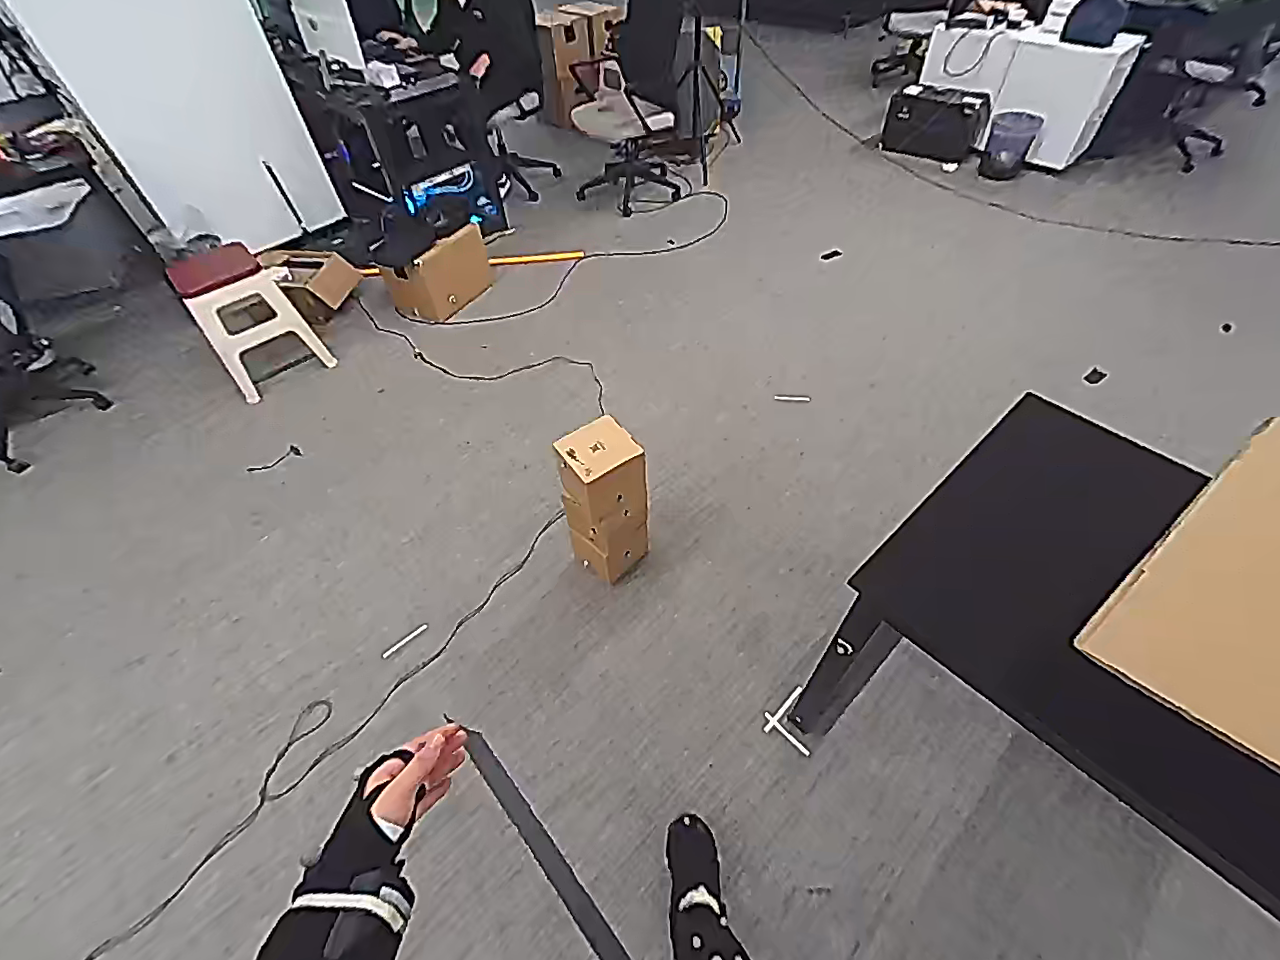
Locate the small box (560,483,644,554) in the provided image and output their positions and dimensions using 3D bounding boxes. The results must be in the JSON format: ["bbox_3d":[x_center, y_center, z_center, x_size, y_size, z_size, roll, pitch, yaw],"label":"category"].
[{"bbox_3d":[-0.099,0.078,1.539,0.168,0.176,0.179,33,58,25],"label":"small box"}]

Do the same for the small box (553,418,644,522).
[{"bbox_3d":[-0.105,-0.025,1.411,0.179,0.176,0.168,-30,56,-21],"label":"small box"}]

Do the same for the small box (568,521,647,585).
[{"bbox_3d":[-0.096,0.185,1.661,0.168,0.176,0.179,35,61,27],"label":"small box"}]
